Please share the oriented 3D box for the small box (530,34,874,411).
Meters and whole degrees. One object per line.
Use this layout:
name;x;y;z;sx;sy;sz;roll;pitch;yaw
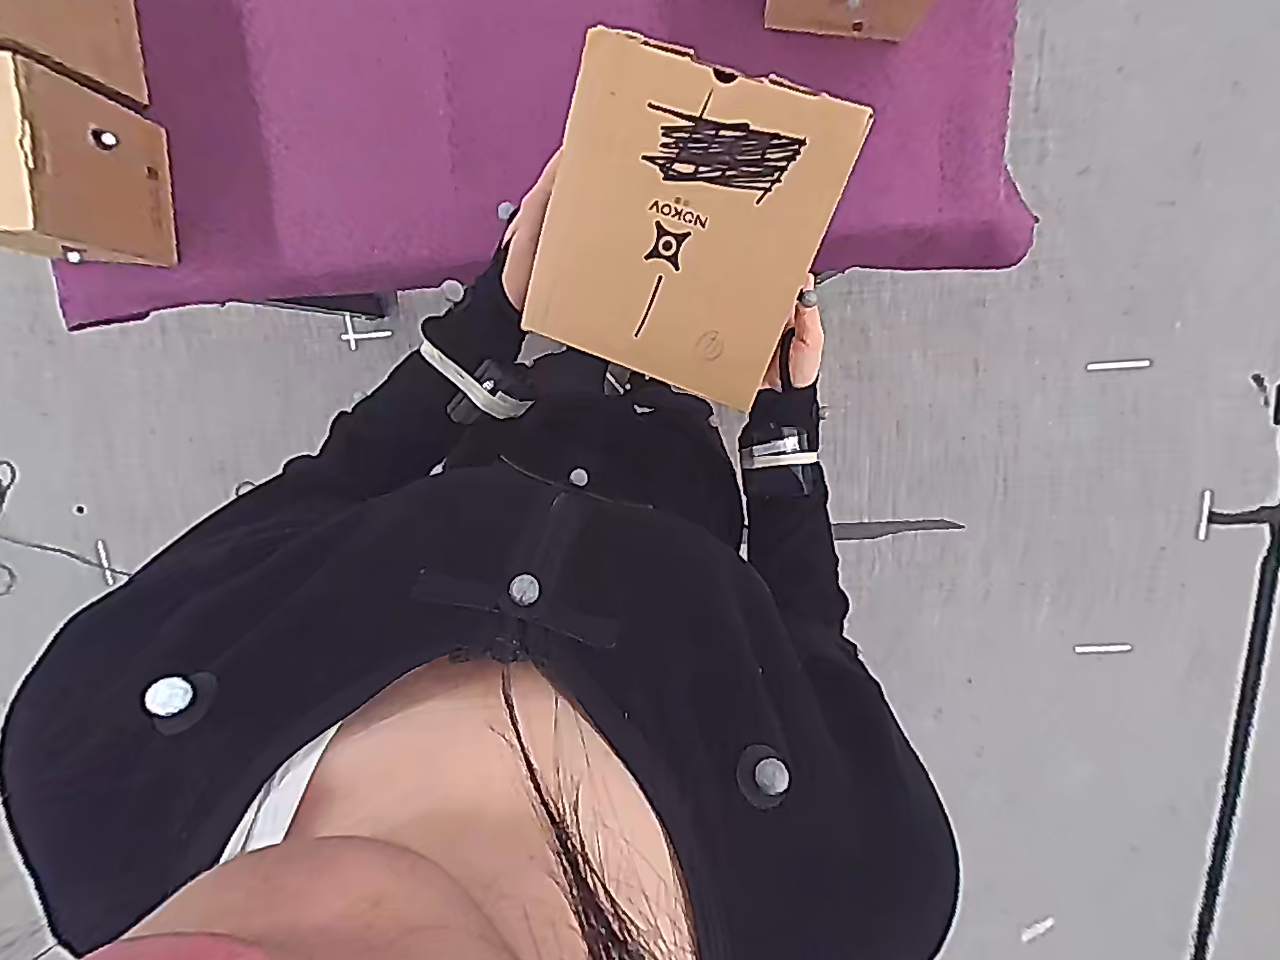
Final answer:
small box;0.044;-0.172;0.403;0.168;0.176;0.179;22;110;8
